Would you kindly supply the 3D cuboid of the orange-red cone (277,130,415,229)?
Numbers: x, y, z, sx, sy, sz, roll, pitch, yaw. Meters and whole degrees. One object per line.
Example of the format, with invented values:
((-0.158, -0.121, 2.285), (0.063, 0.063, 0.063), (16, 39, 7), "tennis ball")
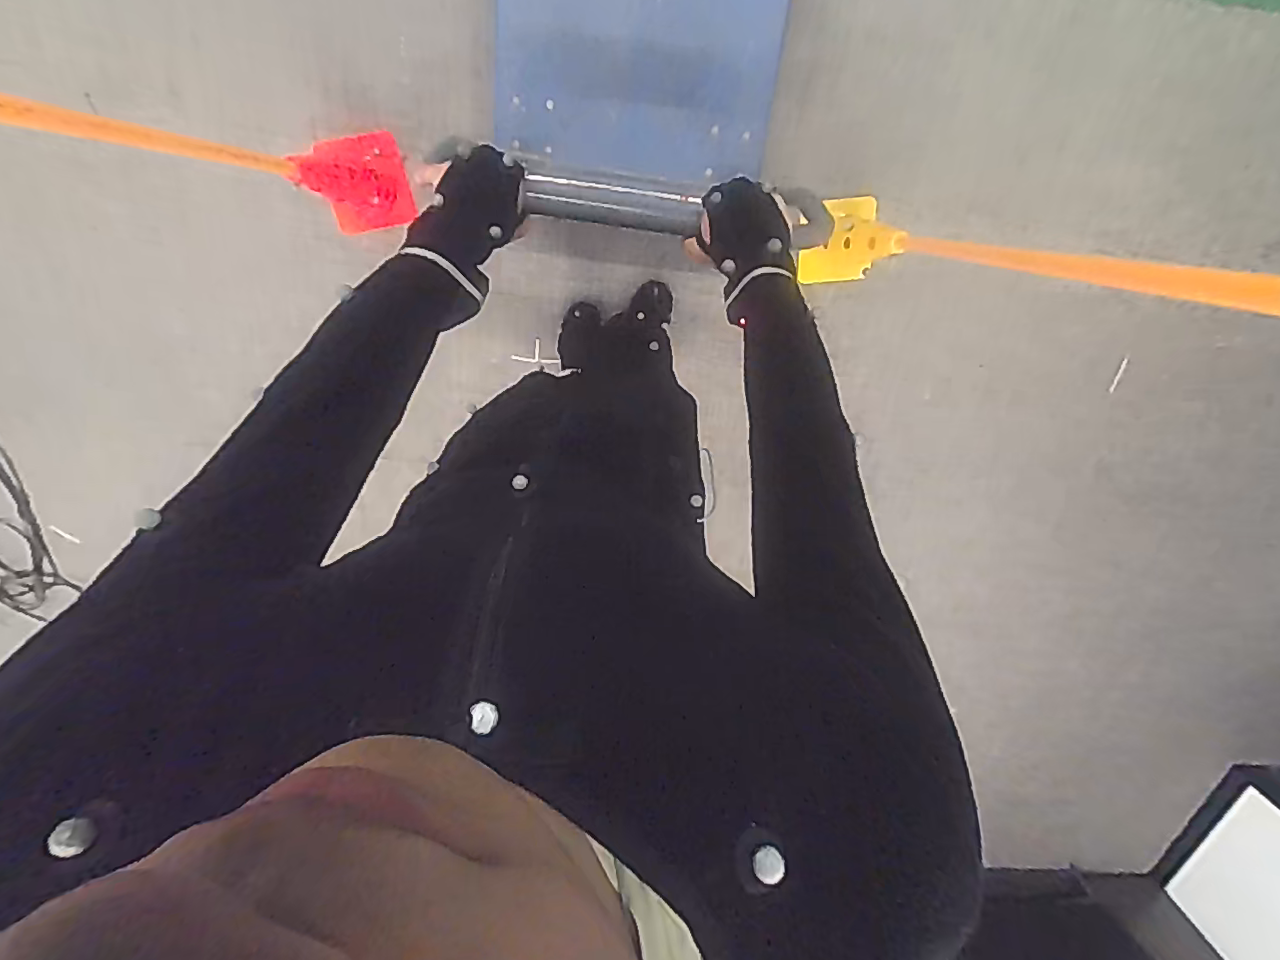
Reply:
((-0.653, -0.650, 1.147), (0.199, 0.360, 0.198), (-8, 115, 2), "orange-red cone")
